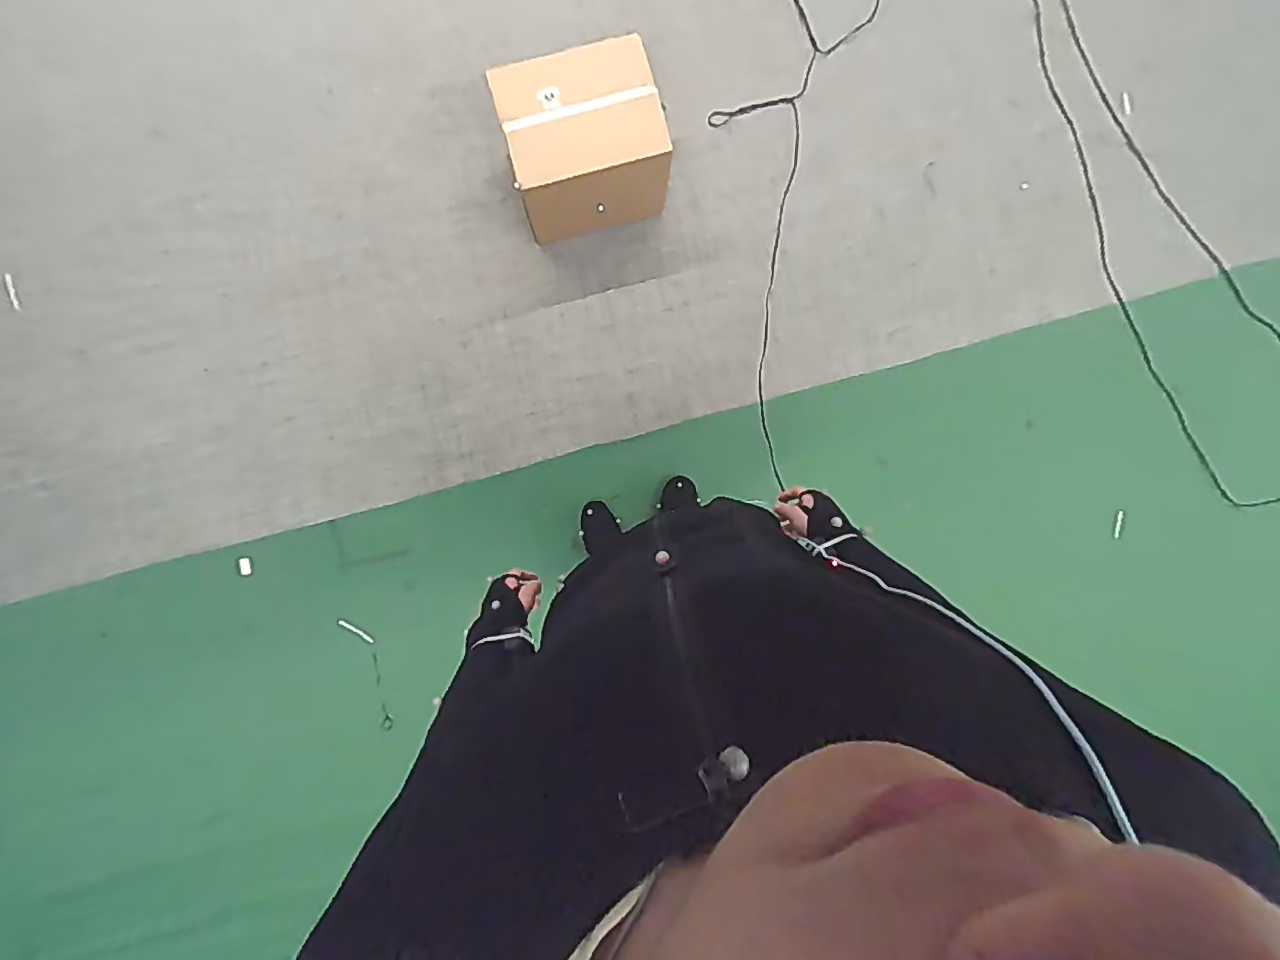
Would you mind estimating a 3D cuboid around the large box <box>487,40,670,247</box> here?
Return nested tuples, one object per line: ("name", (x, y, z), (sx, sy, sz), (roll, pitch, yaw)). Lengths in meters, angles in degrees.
("large box", (-0.158, -0.918, 1.520), (0.408, 0.320, 0.320), (-17, 89, -2))
